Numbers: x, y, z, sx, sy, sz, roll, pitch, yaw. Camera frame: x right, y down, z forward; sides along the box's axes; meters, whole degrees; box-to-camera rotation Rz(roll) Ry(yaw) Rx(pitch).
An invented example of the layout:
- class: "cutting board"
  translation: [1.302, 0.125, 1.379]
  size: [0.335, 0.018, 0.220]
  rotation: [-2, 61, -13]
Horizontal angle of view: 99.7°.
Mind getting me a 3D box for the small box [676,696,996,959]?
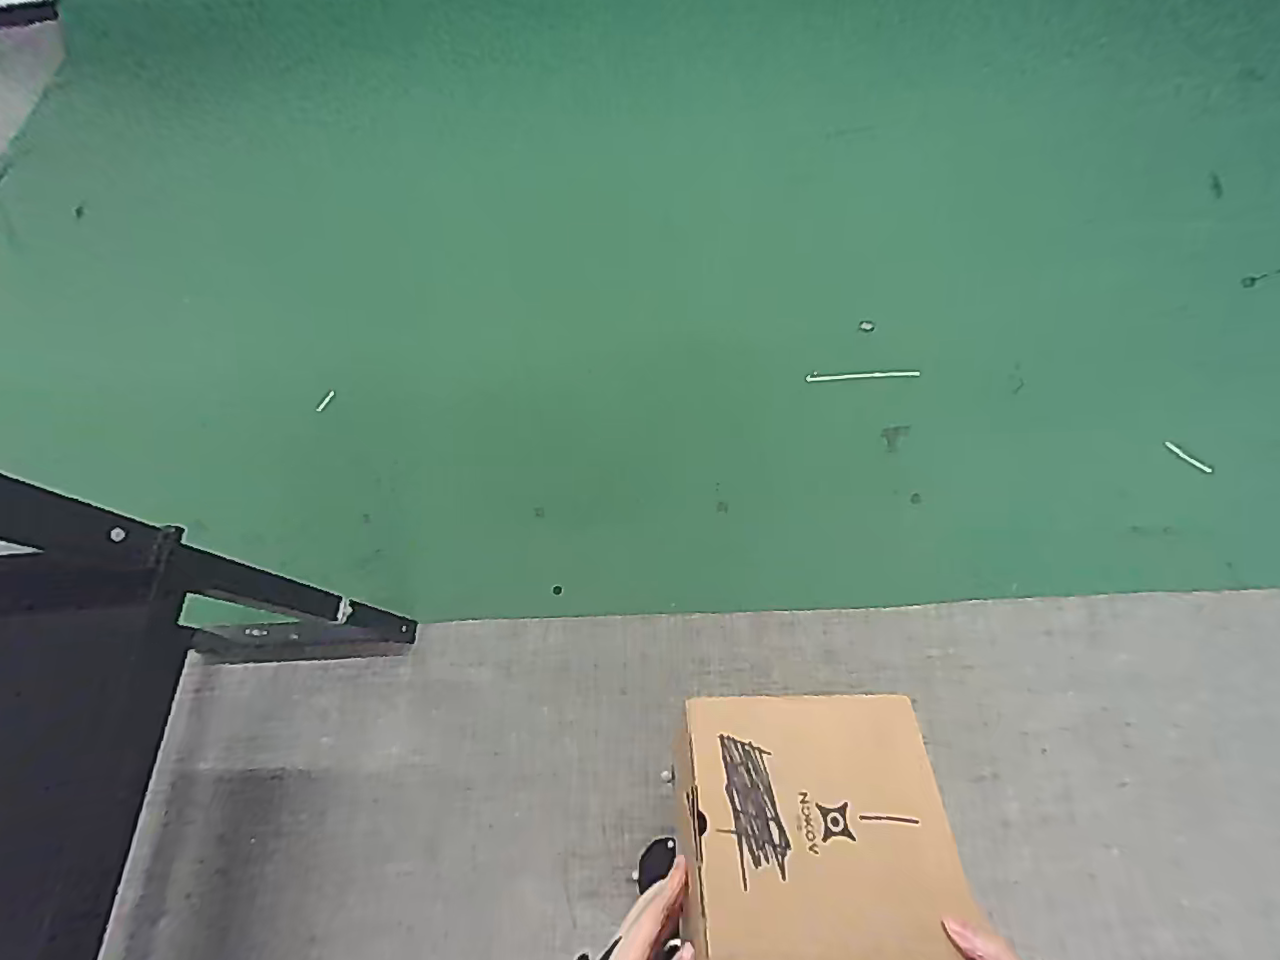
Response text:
- class: "small box"
  translation: [0.121, 0.279, 0.422]
  size: [0.179, 0.176, 0.168]
  rotation: [0, 52, -2]
